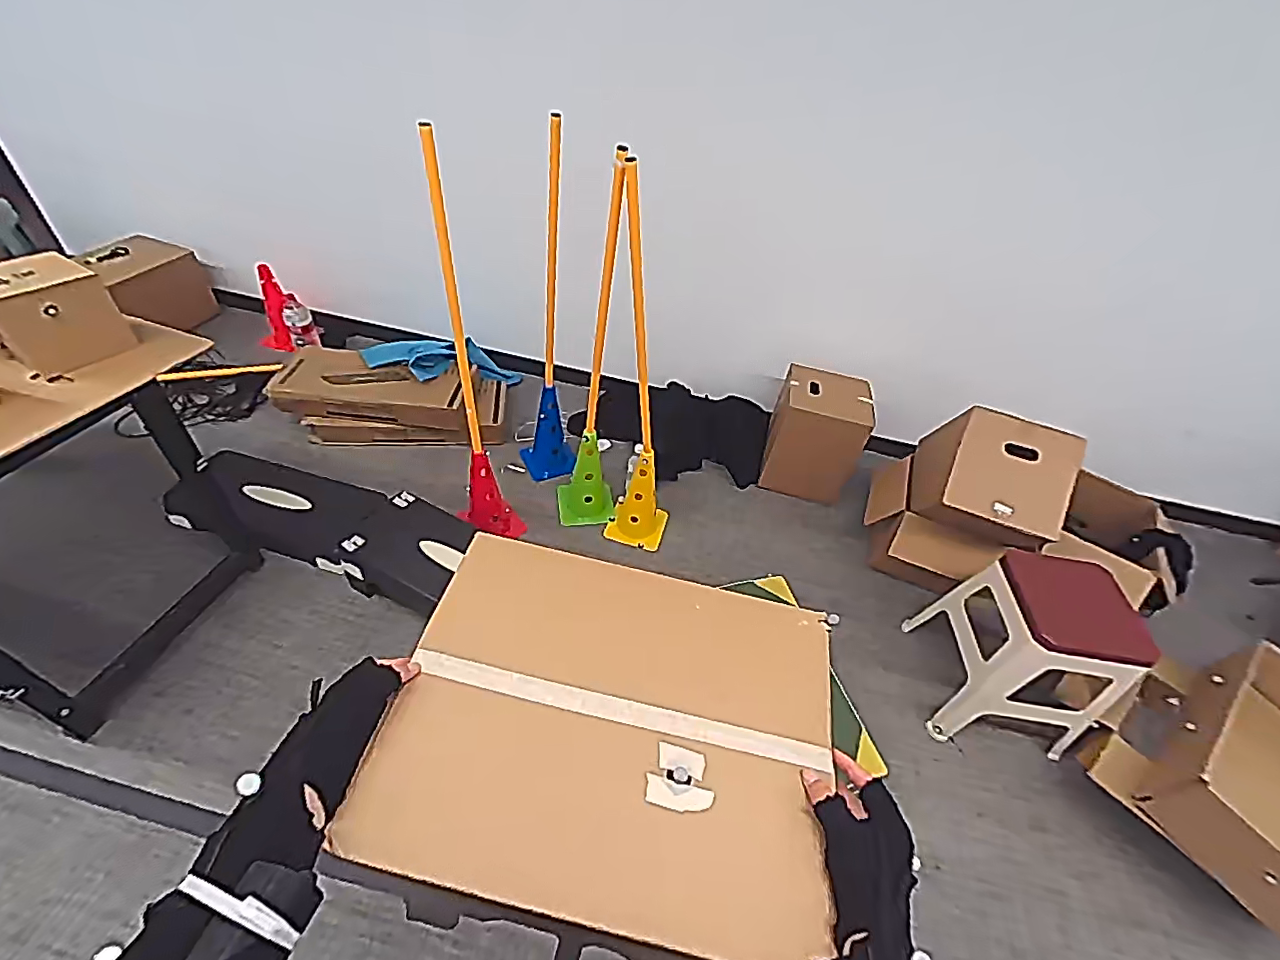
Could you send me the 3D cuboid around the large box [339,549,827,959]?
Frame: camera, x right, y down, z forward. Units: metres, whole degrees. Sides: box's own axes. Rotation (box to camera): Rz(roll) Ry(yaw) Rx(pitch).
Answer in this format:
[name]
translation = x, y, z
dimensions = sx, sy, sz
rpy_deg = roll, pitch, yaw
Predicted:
[large box]
translation = -0.040, 0.327, 0.631
dimensions = 0.408, 0.320, 0.320
rpy_deg = 13, 49, 3
